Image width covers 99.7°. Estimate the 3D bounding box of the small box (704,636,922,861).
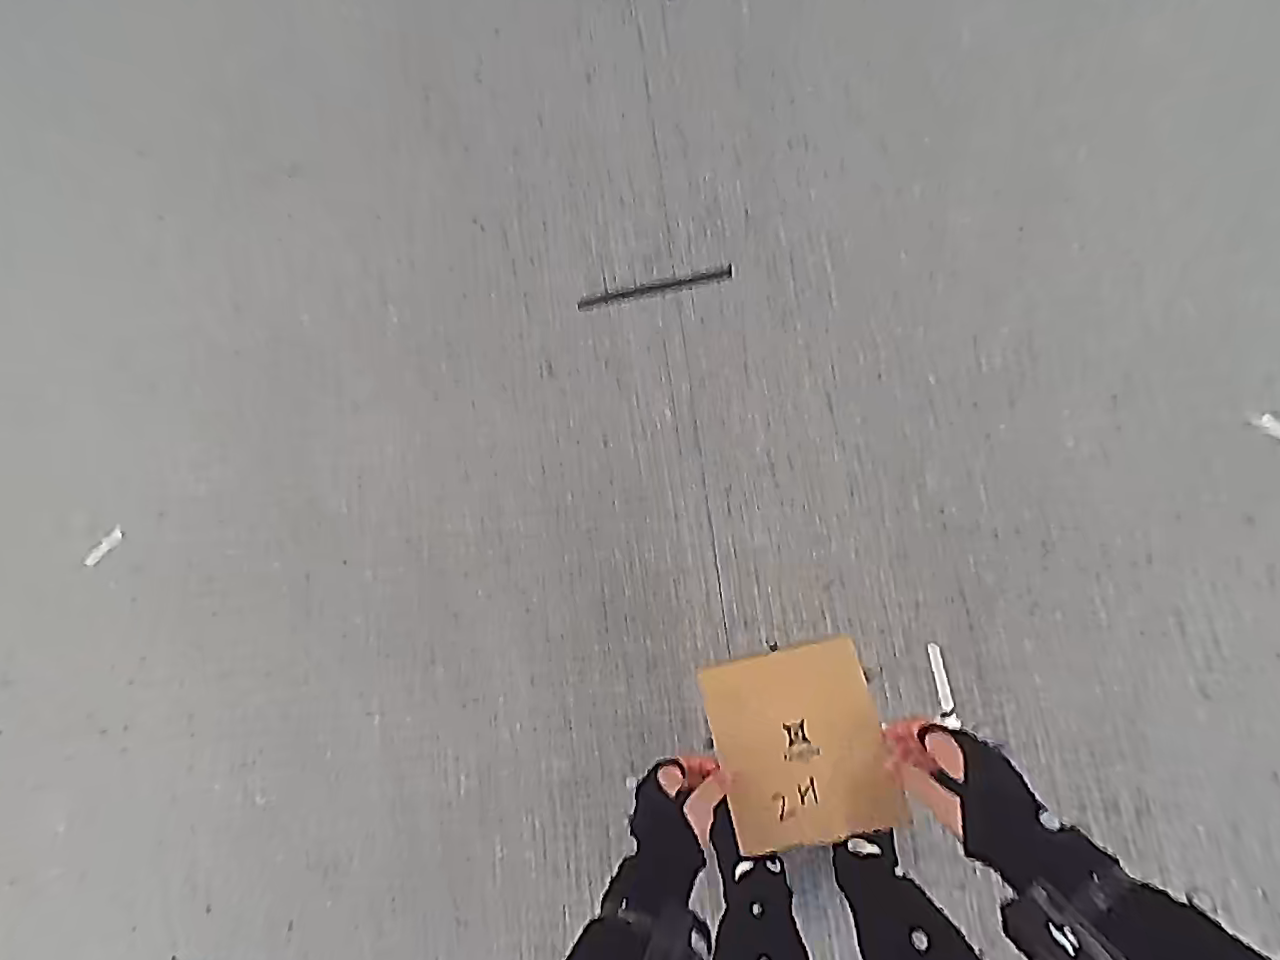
[{"bbox_3d":[0.173,0.277,0.593,0.168,0.176,0.179,-15,72,7],"label":"small box"}]
